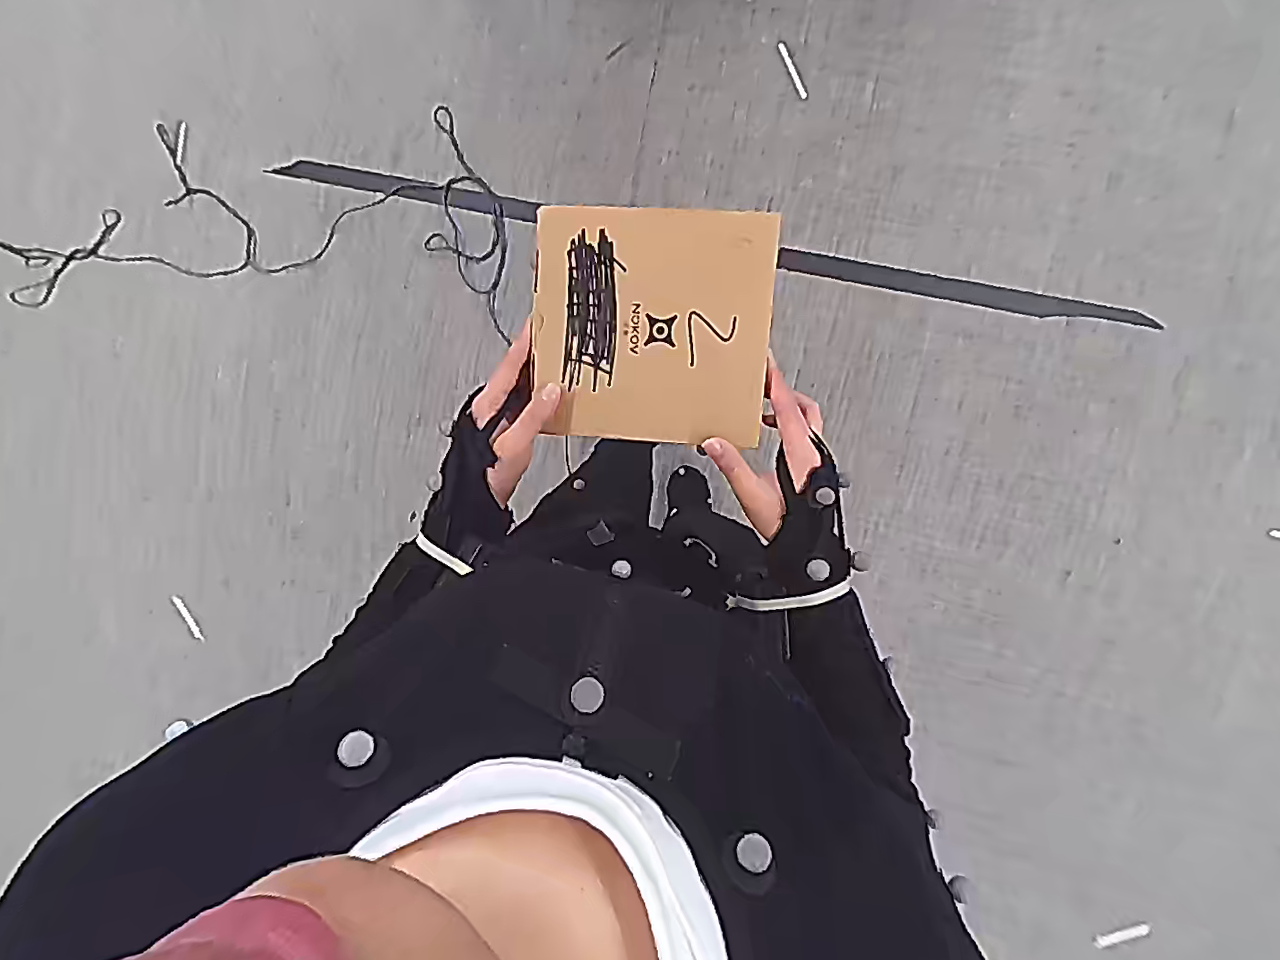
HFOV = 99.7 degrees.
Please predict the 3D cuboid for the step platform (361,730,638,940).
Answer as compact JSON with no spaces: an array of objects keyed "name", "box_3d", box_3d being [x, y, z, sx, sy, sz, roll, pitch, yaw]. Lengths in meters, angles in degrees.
[{"name":"step platform","box_3d":[-0.359,0.902,1.392,0.684,0.204,0.286,12,96,6]}]
